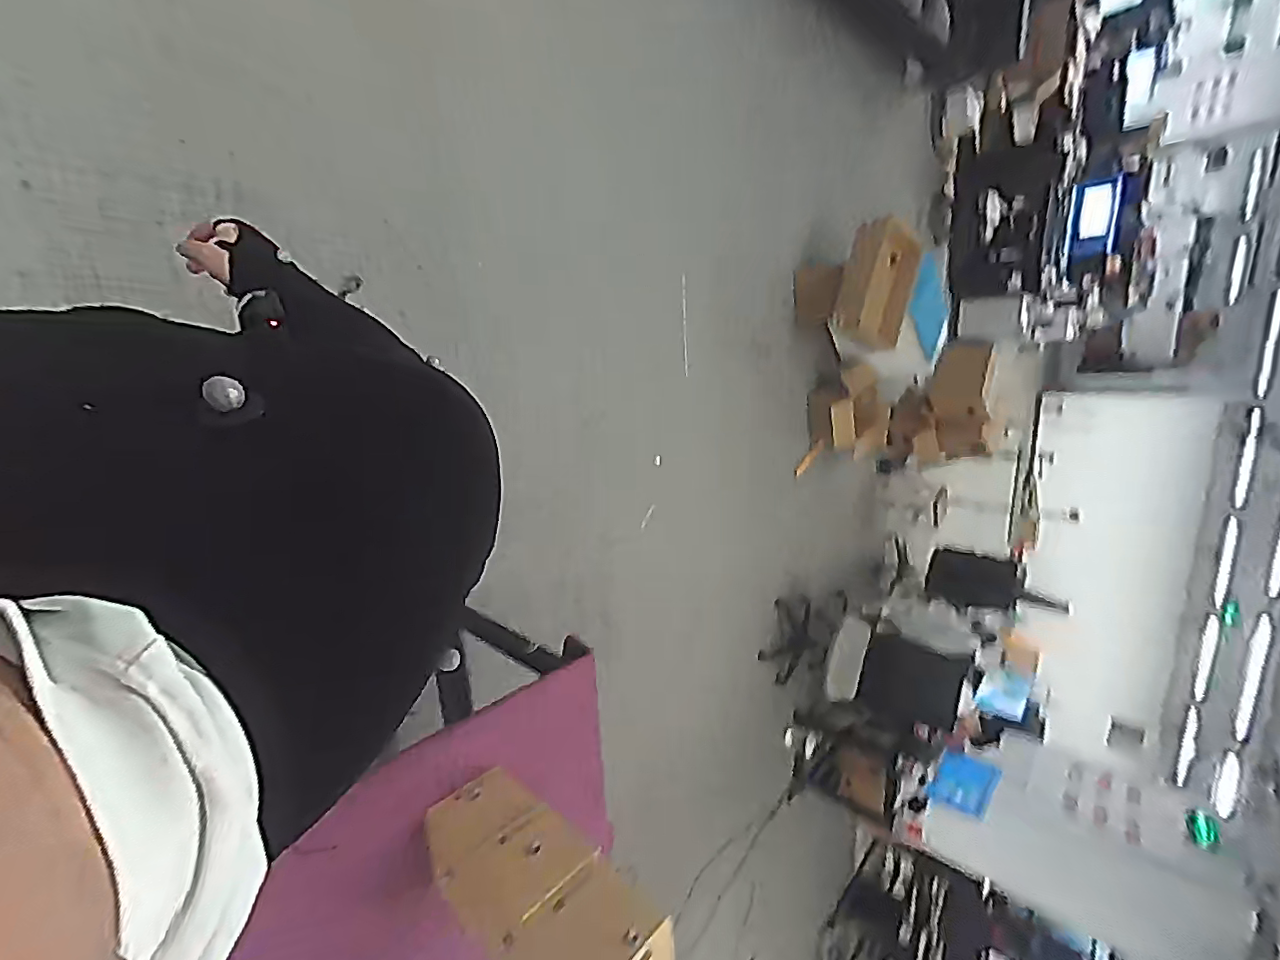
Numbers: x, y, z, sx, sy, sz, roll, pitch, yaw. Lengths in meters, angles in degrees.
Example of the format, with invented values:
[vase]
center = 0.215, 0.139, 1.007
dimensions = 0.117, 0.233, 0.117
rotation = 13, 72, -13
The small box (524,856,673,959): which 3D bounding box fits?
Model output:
[small box]
center = -0.065, 0.756, 0.854
dimensions = 0.168, 0.176, 0.179
rotation = -17, 109, -45
